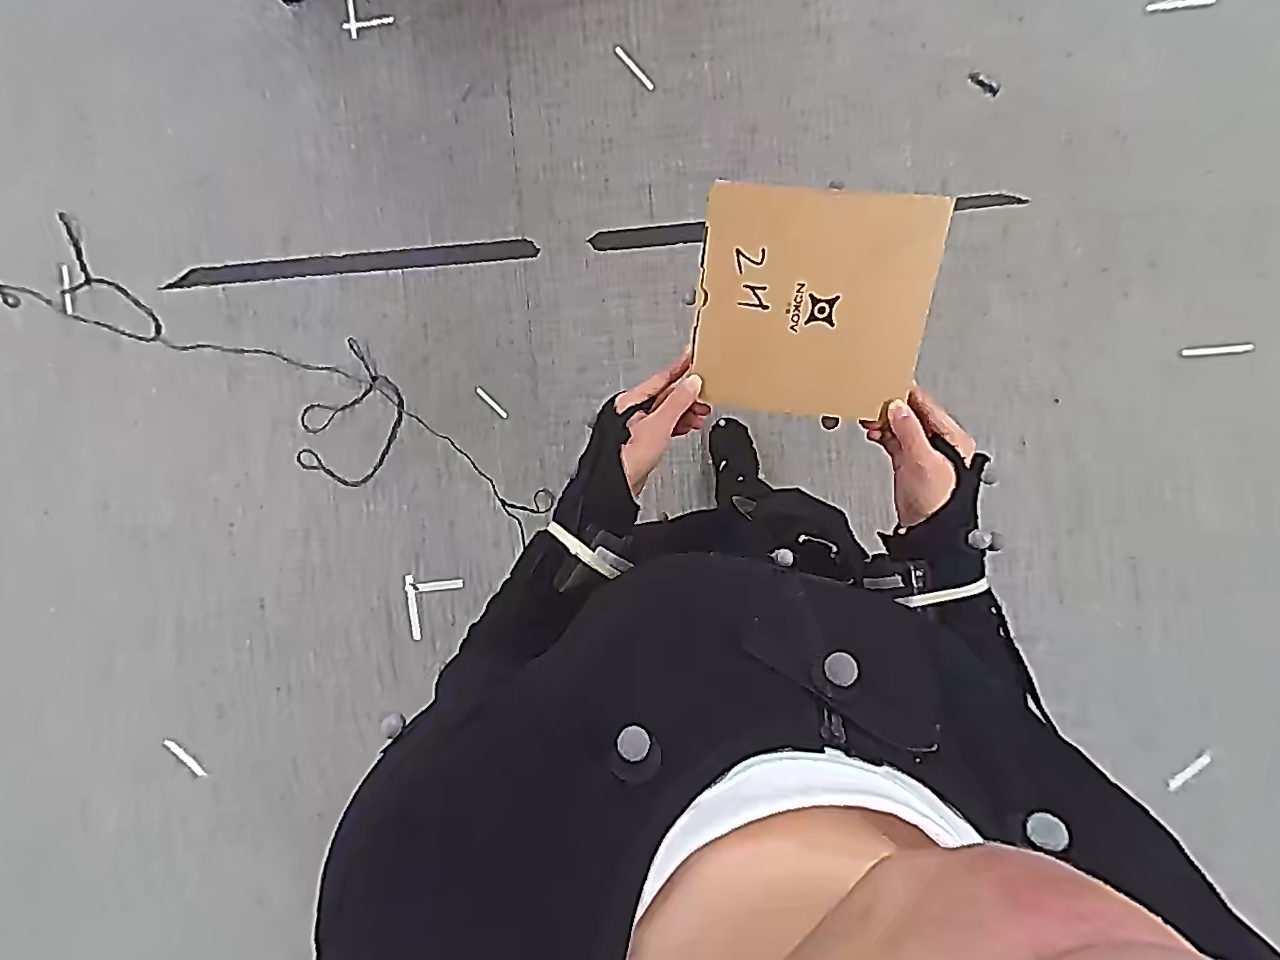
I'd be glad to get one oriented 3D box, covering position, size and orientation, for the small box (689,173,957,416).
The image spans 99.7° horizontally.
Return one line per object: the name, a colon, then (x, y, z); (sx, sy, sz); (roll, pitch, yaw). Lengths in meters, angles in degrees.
small box: (0.142, -0.163, 0.491); (0.179, 0.176, 0.168); (7, 108, 5)
